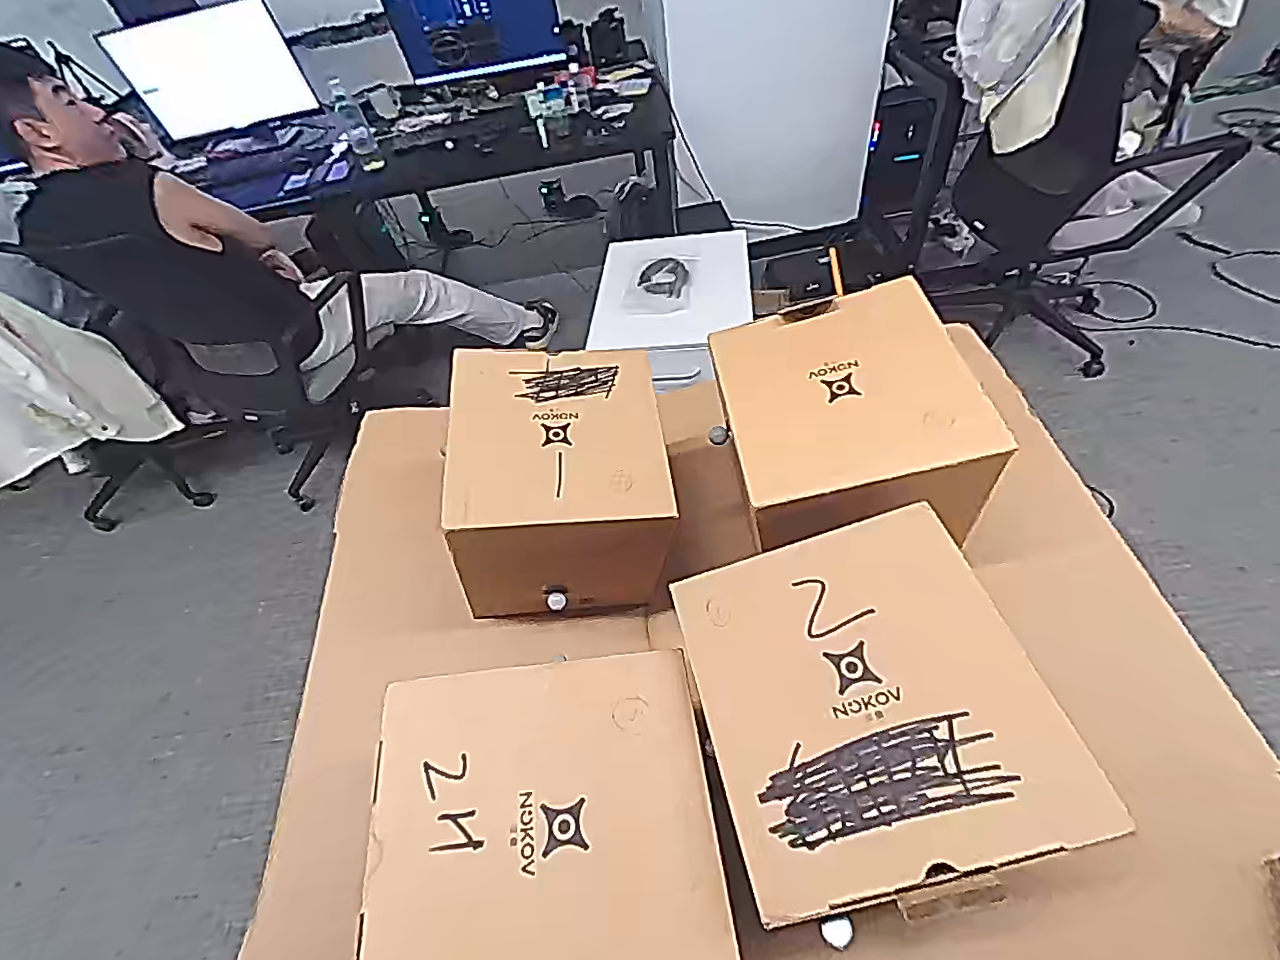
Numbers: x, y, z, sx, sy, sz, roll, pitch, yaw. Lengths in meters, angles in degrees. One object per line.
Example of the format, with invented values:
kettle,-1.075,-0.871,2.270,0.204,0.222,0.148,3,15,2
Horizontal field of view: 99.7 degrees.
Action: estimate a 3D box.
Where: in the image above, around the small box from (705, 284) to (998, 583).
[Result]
small box,0.163,-0.026,0.461,0.168,0.176,0.179,-14,54,9
